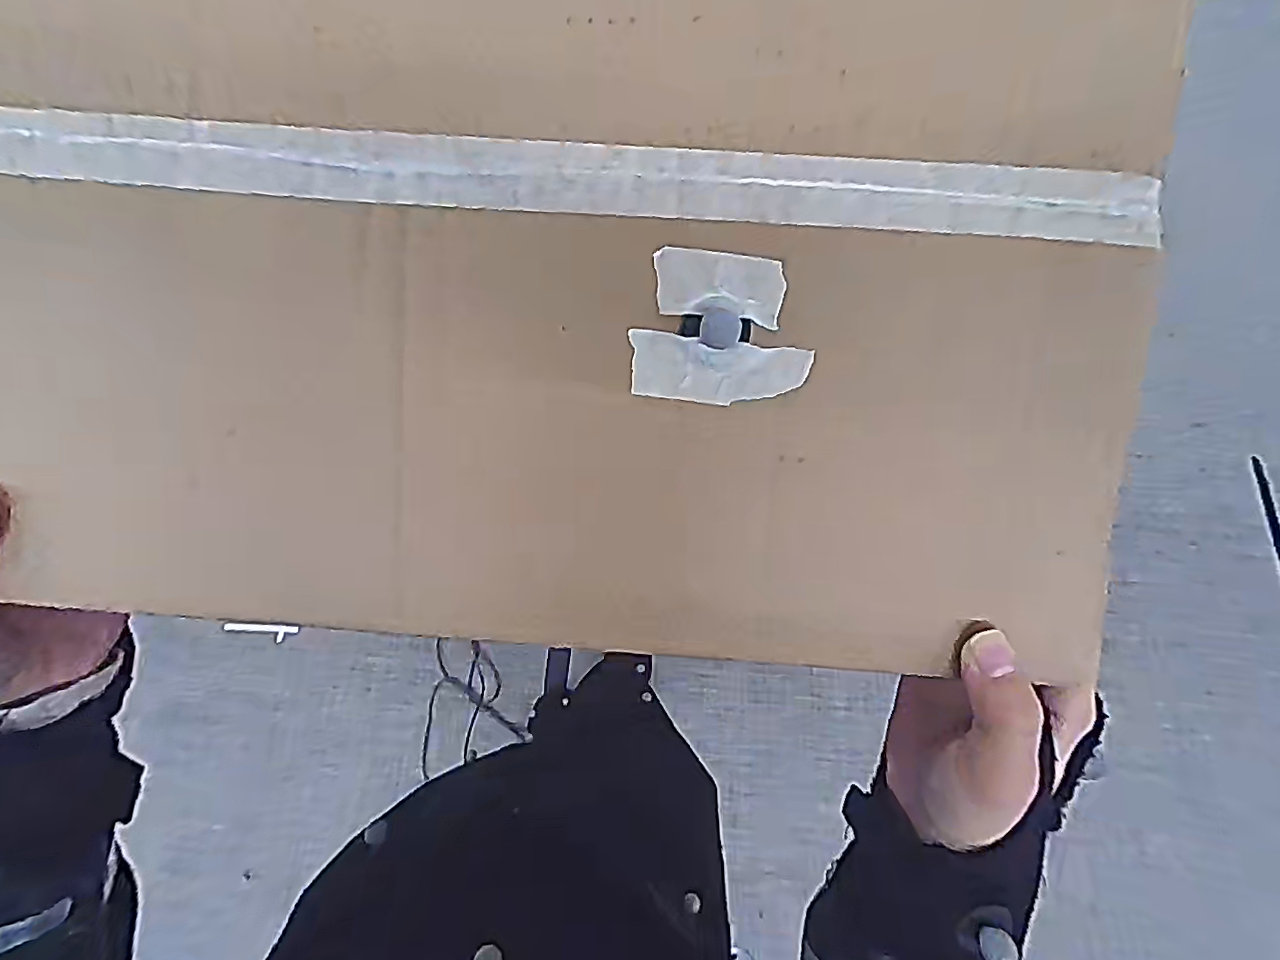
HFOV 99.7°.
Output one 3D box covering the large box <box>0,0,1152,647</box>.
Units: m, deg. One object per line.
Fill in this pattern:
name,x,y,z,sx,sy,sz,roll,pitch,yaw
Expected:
large box,-0.032,-0.111,0.338,0.408,0.320,0.320,4,96,0
